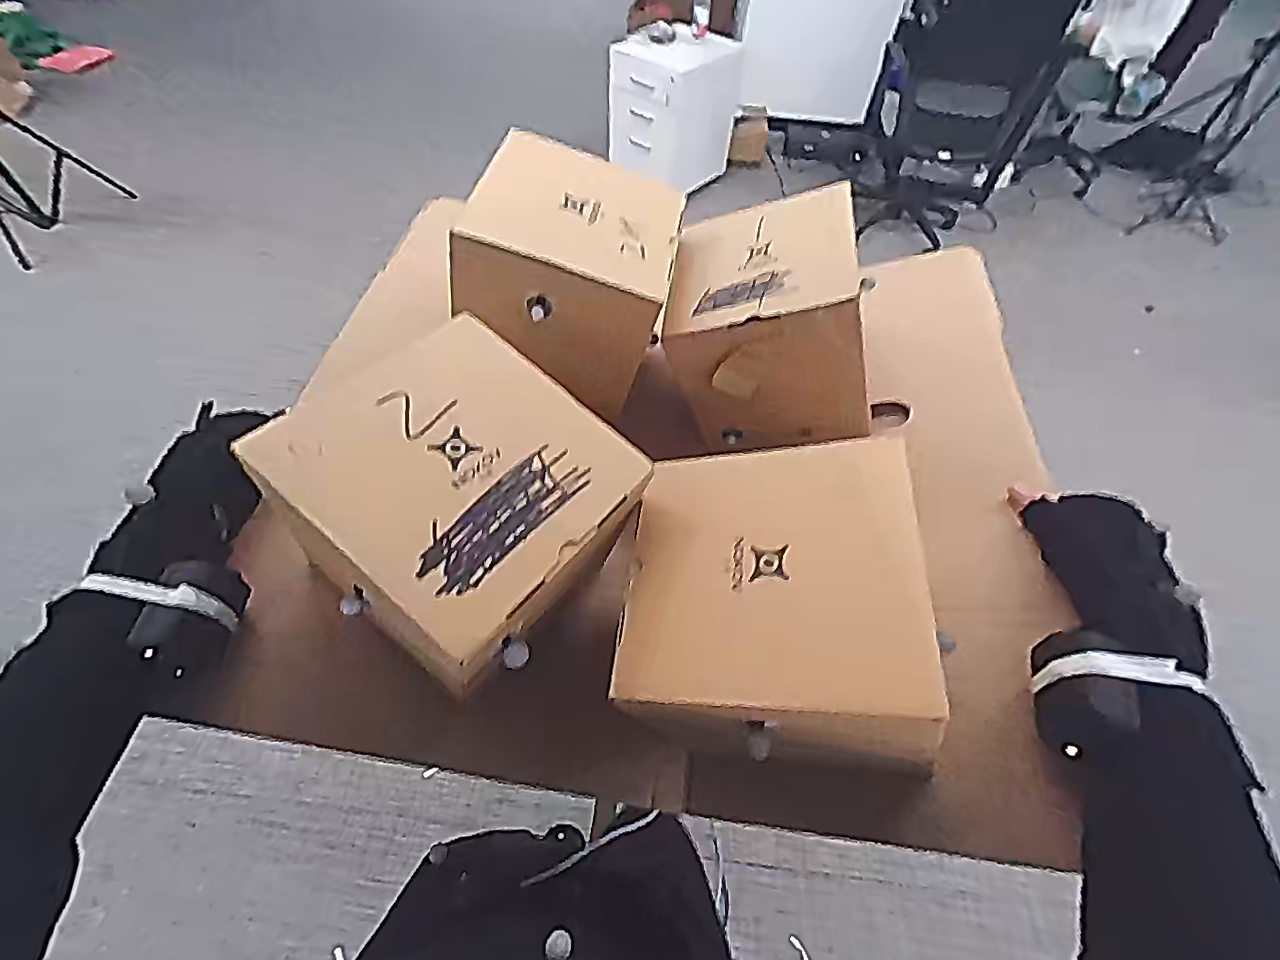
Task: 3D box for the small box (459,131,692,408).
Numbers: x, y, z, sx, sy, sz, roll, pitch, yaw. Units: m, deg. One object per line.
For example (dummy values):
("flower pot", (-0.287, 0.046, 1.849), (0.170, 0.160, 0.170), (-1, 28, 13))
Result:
("small box", (-0.066, -0.197, 0.539), (0.179, 0.176, 0.168), (18, 57, -8))
